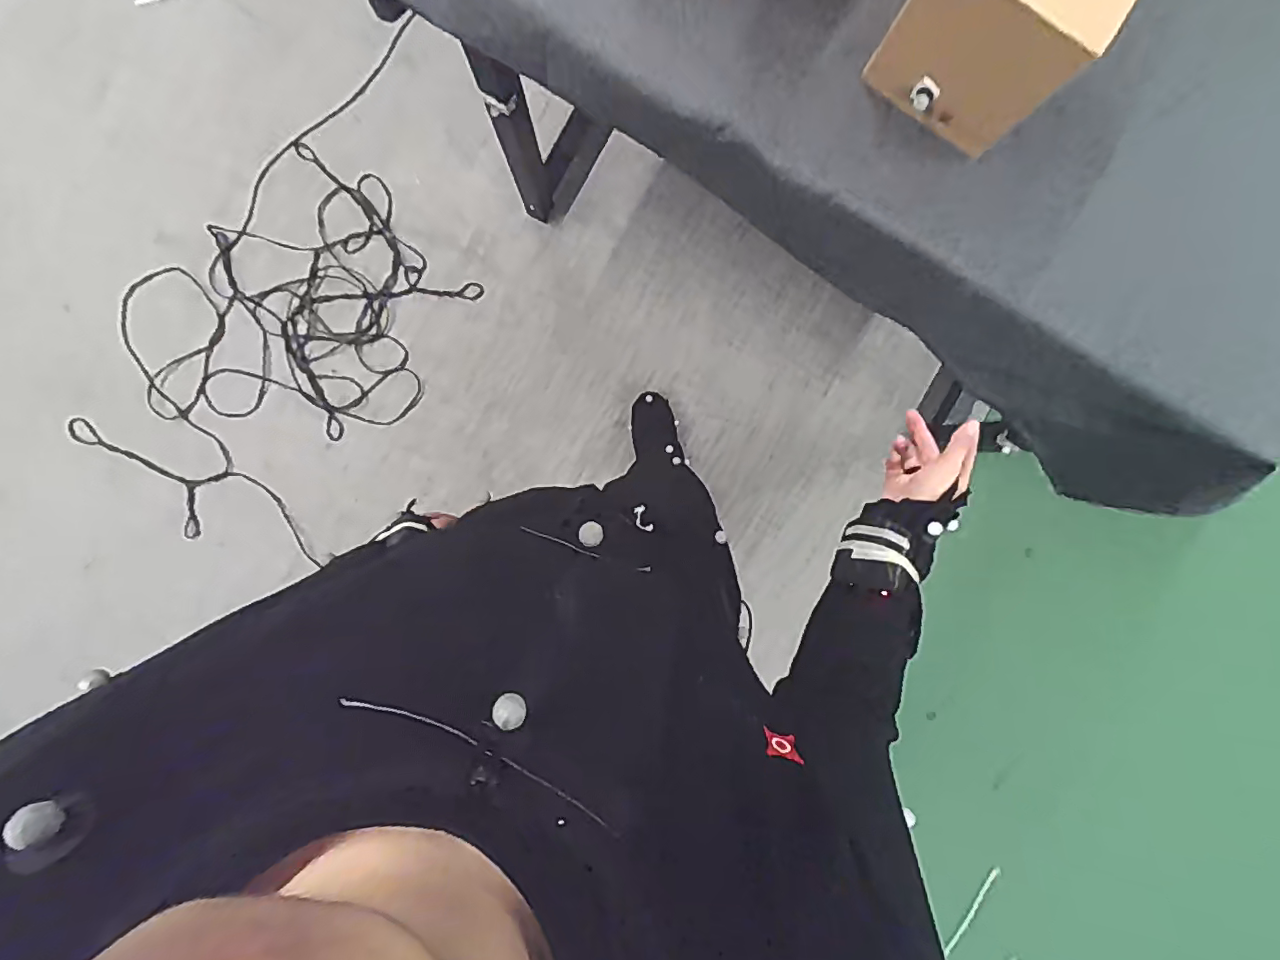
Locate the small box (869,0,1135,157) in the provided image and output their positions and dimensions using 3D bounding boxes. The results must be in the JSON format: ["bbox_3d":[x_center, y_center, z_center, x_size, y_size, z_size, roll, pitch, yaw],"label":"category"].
[{"bbox_3d":[0.366,-0.480,0.542,0.168,0.176,0.179,31,91,-3],"label":"small box"}]
